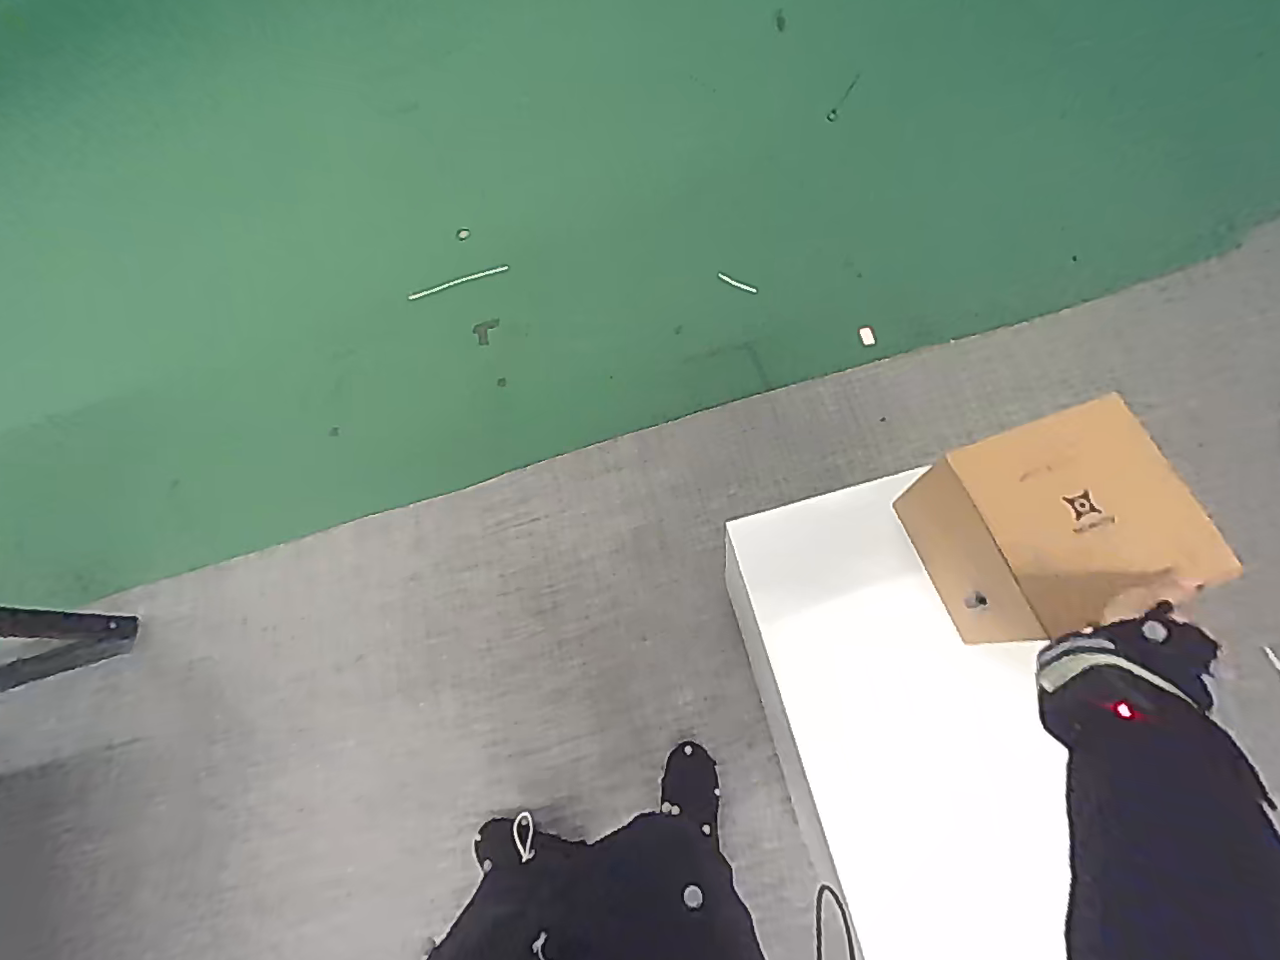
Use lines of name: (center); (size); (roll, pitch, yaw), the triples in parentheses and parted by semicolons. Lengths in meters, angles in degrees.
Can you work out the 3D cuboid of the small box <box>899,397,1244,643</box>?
small box: (0.393, 0.052, 0.536); (0.168, 0.176, 0.179); (-20, 69, 1)
